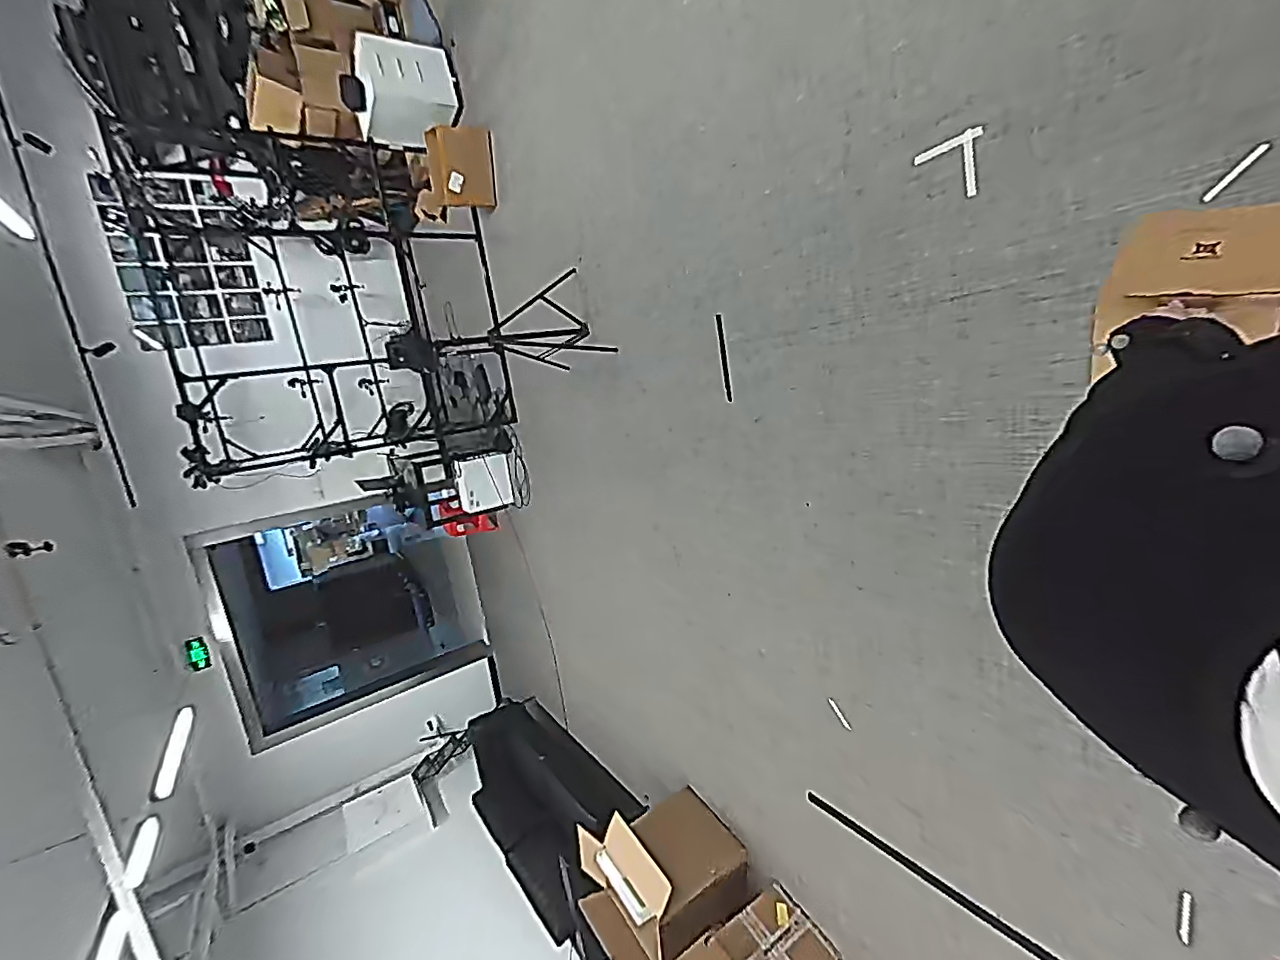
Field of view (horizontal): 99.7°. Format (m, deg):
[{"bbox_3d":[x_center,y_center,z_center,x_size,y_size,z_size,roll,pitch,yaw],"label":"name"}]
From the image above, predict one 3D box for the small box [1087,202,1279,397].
[{"bbox_3d":[0.719,-0.231,0.713,0.168,0.179,0.176,20,154,45],"label":"small box"}]
